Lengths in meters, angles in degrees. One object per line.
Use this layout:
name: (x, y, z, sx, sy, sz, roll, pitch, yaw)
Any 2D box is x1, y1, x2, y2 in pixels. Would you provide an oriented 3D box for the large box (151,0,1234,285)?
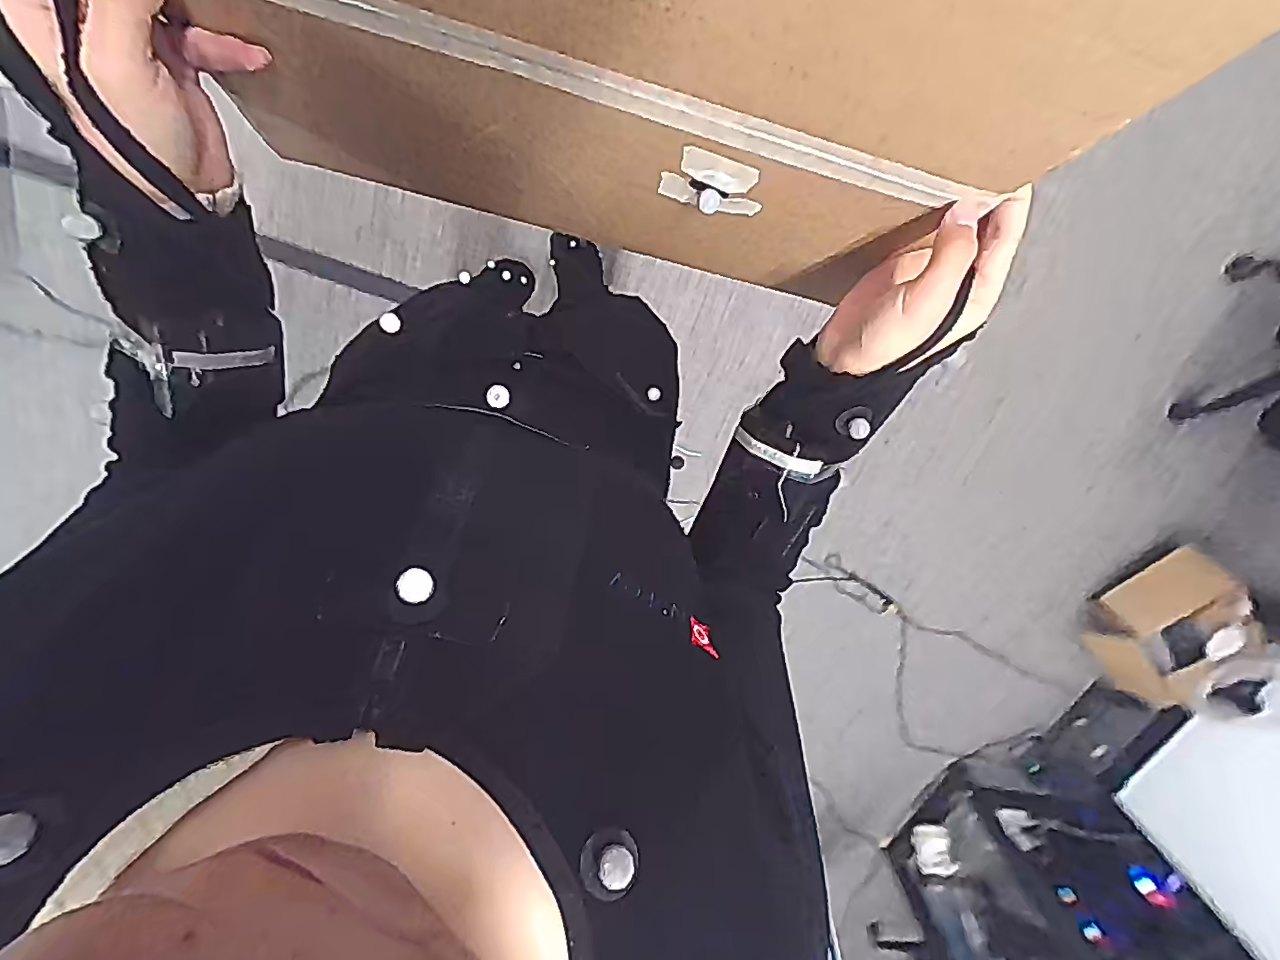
large box: (0.003, -0.333, 0.250, 0.408, 0.320, 0.320, 9, 89, -9)
